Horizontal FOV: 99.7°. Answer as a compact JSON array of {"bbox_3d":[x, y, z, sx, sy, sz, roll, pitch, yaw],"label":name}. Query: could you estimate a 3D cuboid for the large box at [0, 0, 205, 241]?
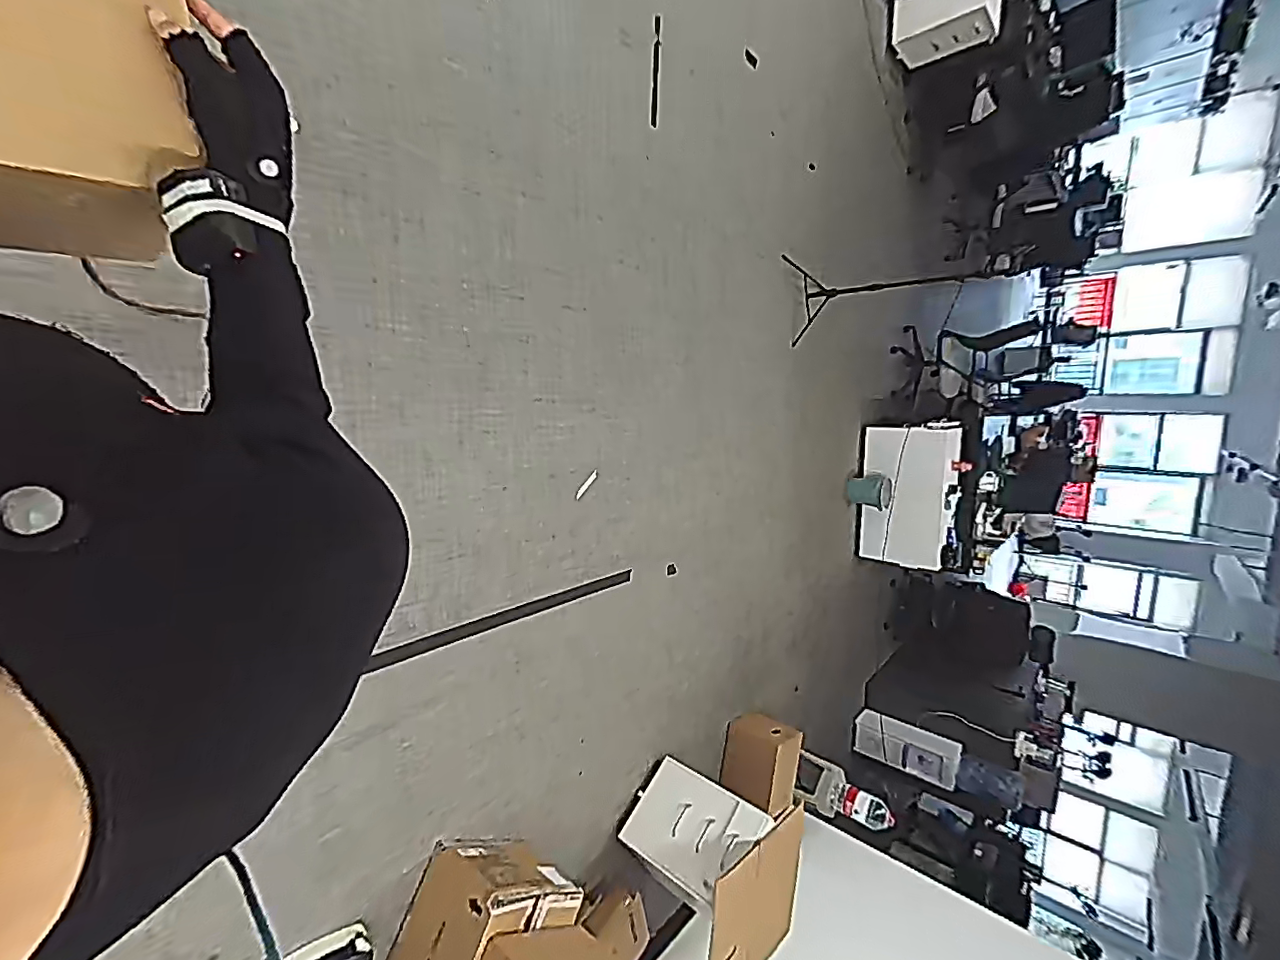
[{"bbox_3d":[-0.610,-0.376,0.367,0.408,0.320,0.320,-16,108,-48],"label":"large box"}]
